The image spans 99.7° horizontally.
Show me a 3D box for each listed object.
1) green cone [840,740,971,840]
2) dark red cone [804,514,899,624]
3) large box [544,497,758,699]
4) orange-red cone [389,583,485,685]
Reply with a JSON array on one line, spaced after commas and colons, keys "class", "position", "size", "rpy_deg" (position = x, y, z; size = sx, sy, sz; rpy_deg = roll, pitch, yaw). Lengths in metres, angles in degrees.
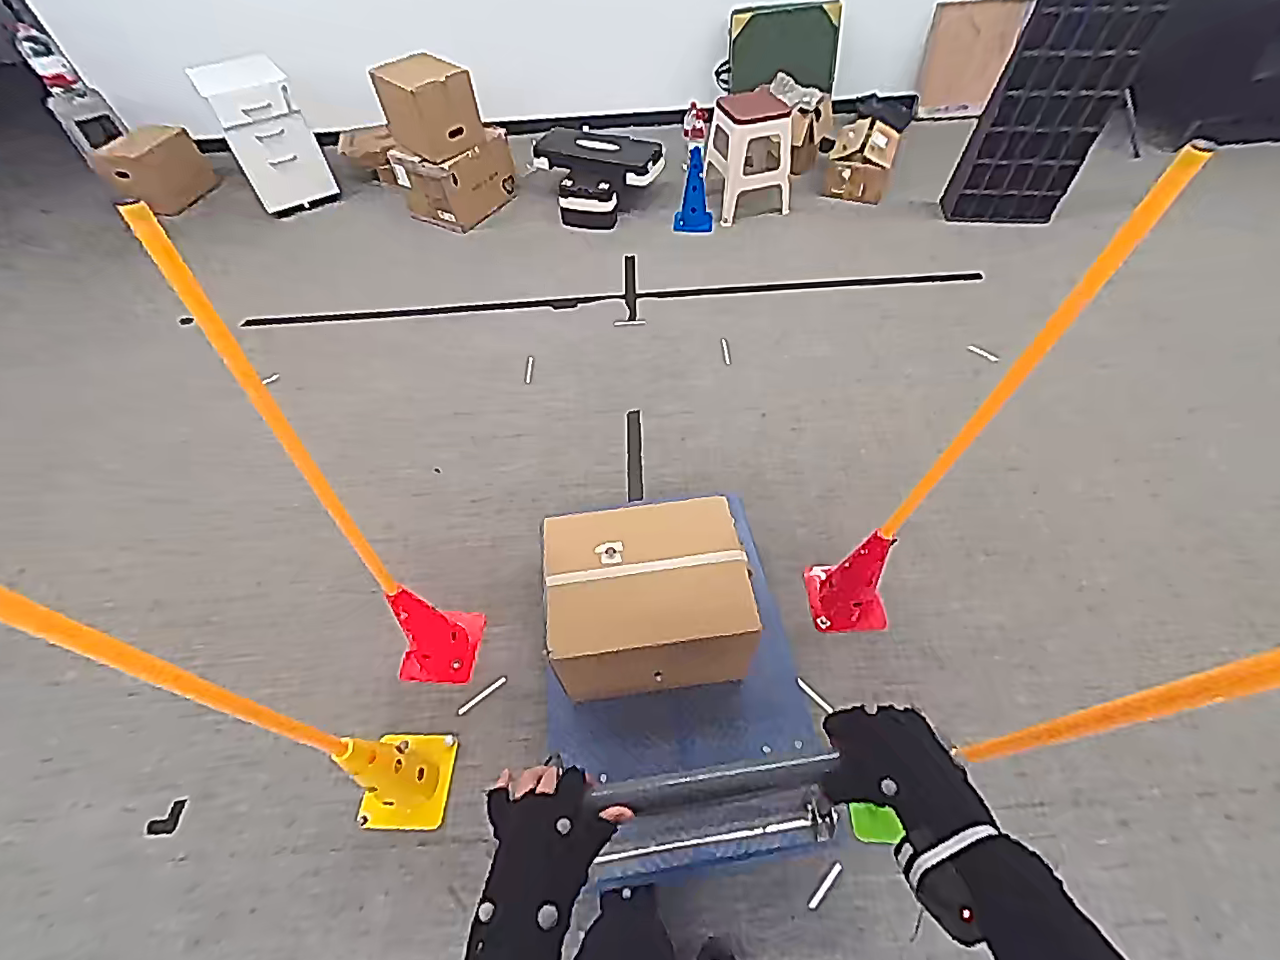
[{"class": "green cone", "position": [0.575, 0.610, 1.114], "size": [0.202, 0.368, 0.200], "rpy_deg": [1, 53, 2]}, {"class": "dark red cone", "position": [0.576, 0.213, 1.394], "size": [0.201, 0.394, 0.202], "rpy_deg": [-2, 53, -1]}, {"class": "large box", "position": [0.017, 0.273, 1.218], "size": [0.408, 0.320, 0.320], "rpy_deg": [-8, 54, -2]}, {"class": "orange-red cone", "position": [-0.549, 0.356, 1.365], "size": [0.198, 0.360, 0.199], "rpy_deg": [4, 52, 4]}]
